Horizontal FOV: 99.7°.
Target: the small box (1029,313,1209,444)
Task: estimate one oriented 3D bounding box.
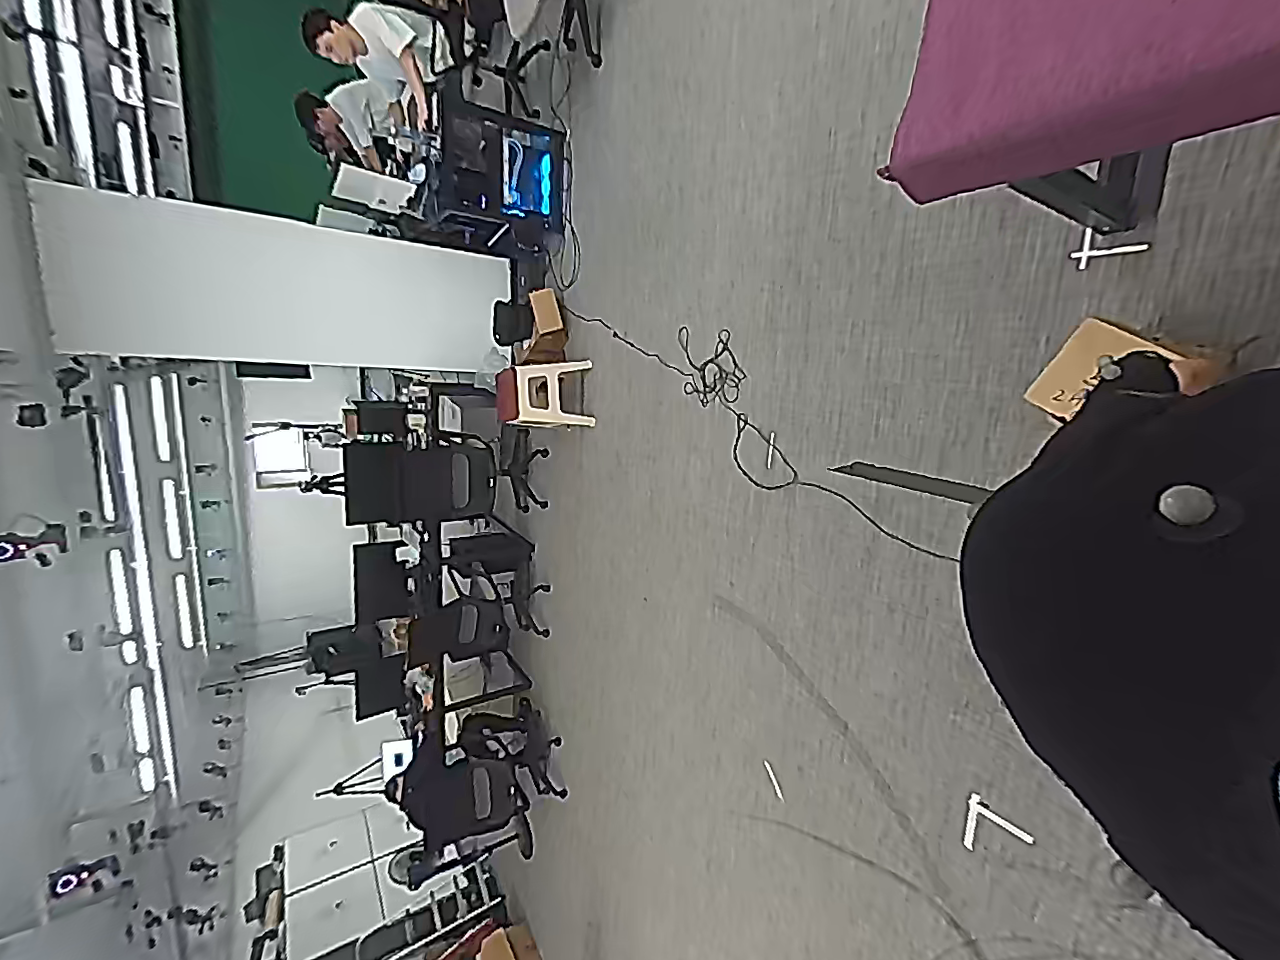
[{"bbox_3d":[0.887,-0.188,1.002,0.168,0.176,0.179,54,137,38],"label":"small box"}]
